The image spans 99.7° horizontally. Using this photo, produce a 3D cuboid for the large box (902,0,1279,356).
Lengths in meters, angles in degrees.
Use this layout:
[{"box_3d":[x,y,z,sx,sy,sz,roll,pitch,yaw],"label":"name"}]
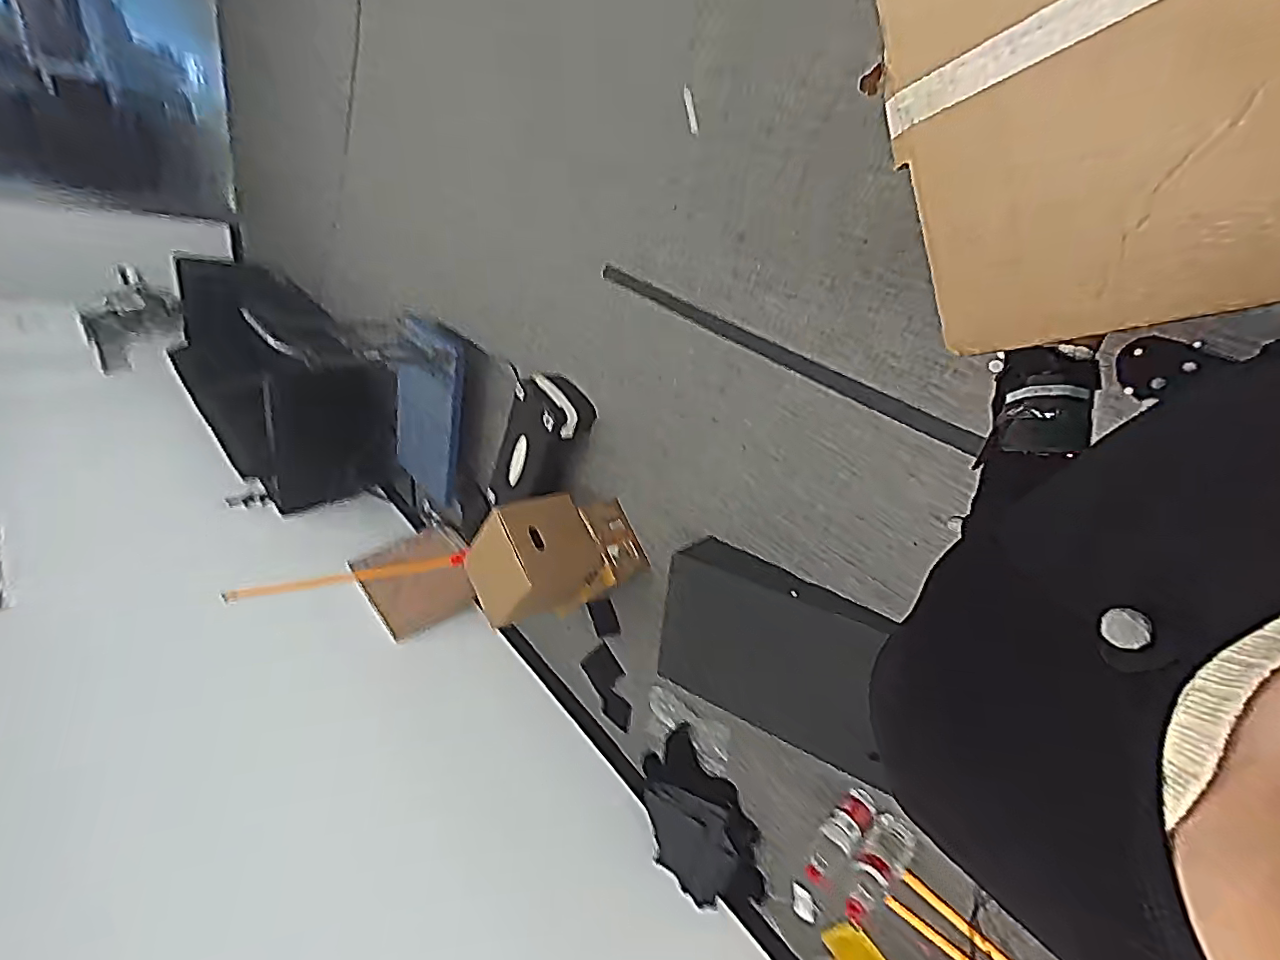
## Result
[{"box_3d":[0.399,-0.284,0.262,0.408,0.320,0.320,-2,113,50],"label":"large box"}]
